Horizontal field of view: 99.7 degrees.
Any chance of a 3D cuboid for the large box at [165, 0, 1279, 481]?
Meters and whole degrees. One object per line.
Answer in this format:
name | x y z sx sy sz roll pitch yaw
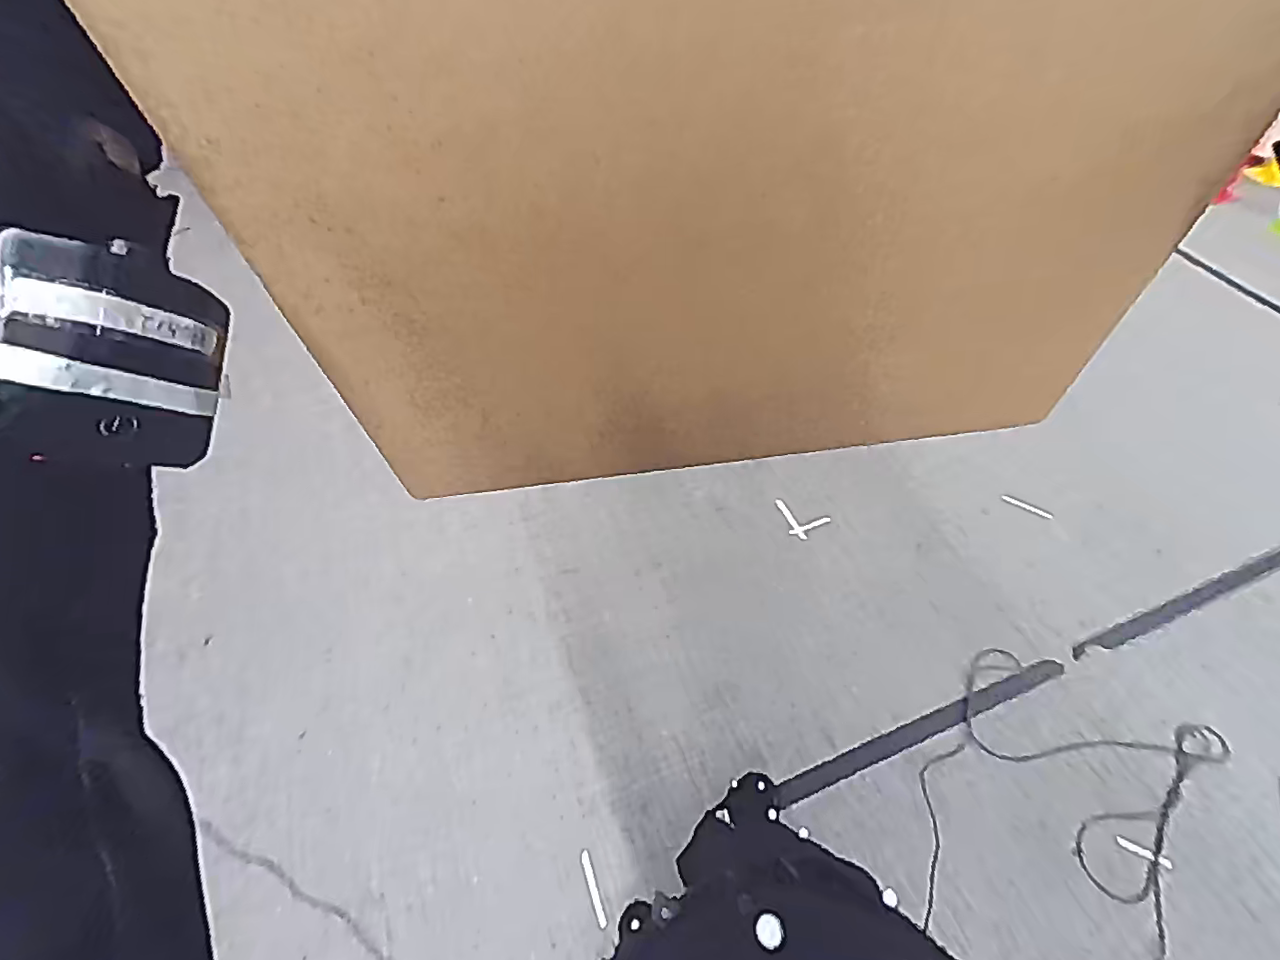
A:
large box | 0.039 -0.228 0.326 0.408 0.320 0.320 -7 53 -1
